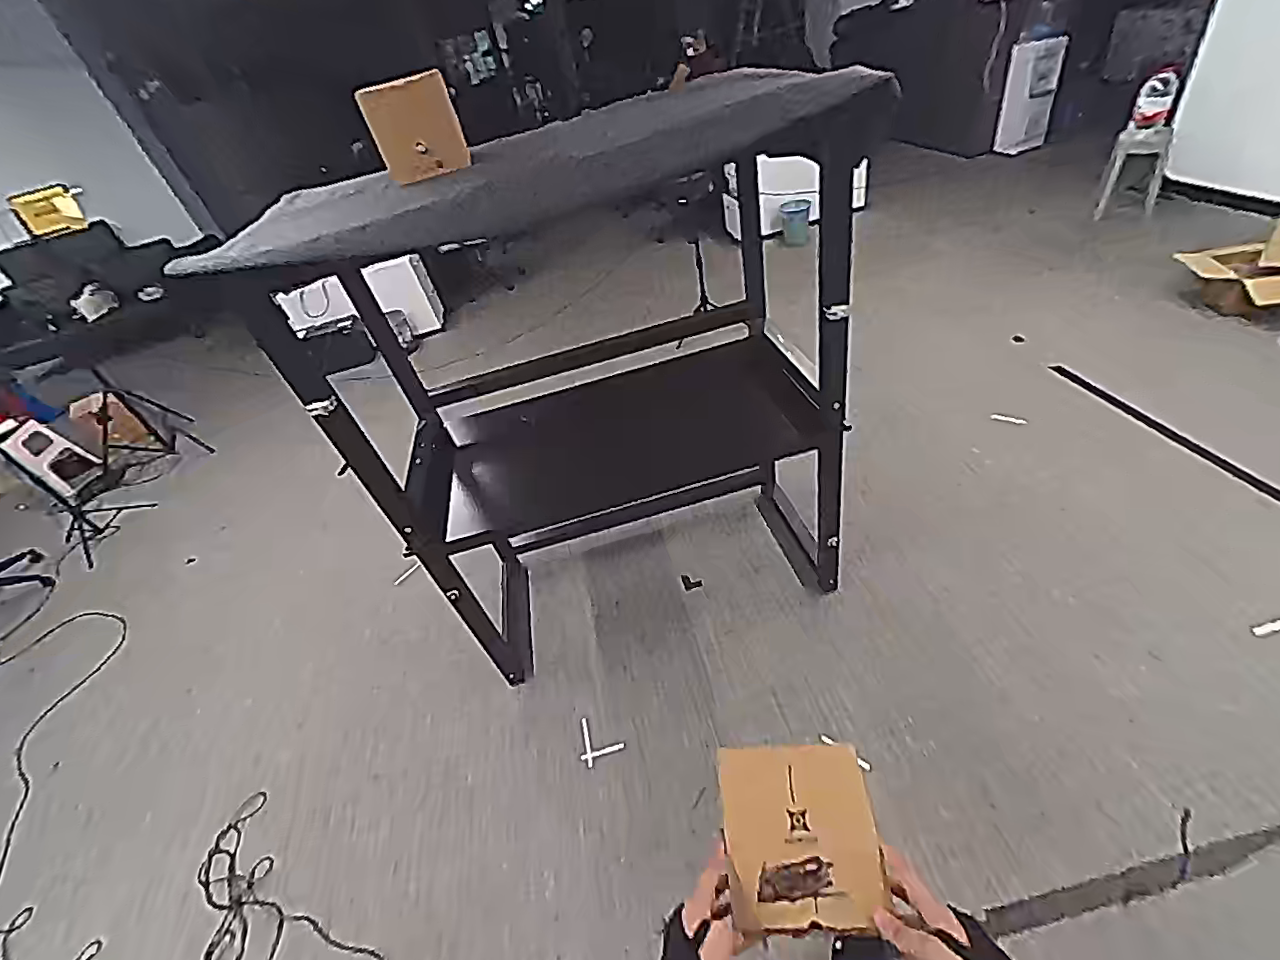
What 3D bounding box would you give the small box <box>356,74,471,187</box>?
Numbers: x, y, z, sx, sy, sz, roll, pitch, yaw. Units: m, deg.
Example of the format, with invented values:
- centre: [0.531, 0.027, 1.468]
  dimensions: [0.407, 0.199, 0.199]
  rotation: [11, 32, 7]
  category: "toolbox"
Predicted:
- centre: [-0.475, -0.750, 1.162]
  dimensions: [0.168, 0.176, 0.179]
  rotation: [-18, 41, -3]
  category: "small box"
